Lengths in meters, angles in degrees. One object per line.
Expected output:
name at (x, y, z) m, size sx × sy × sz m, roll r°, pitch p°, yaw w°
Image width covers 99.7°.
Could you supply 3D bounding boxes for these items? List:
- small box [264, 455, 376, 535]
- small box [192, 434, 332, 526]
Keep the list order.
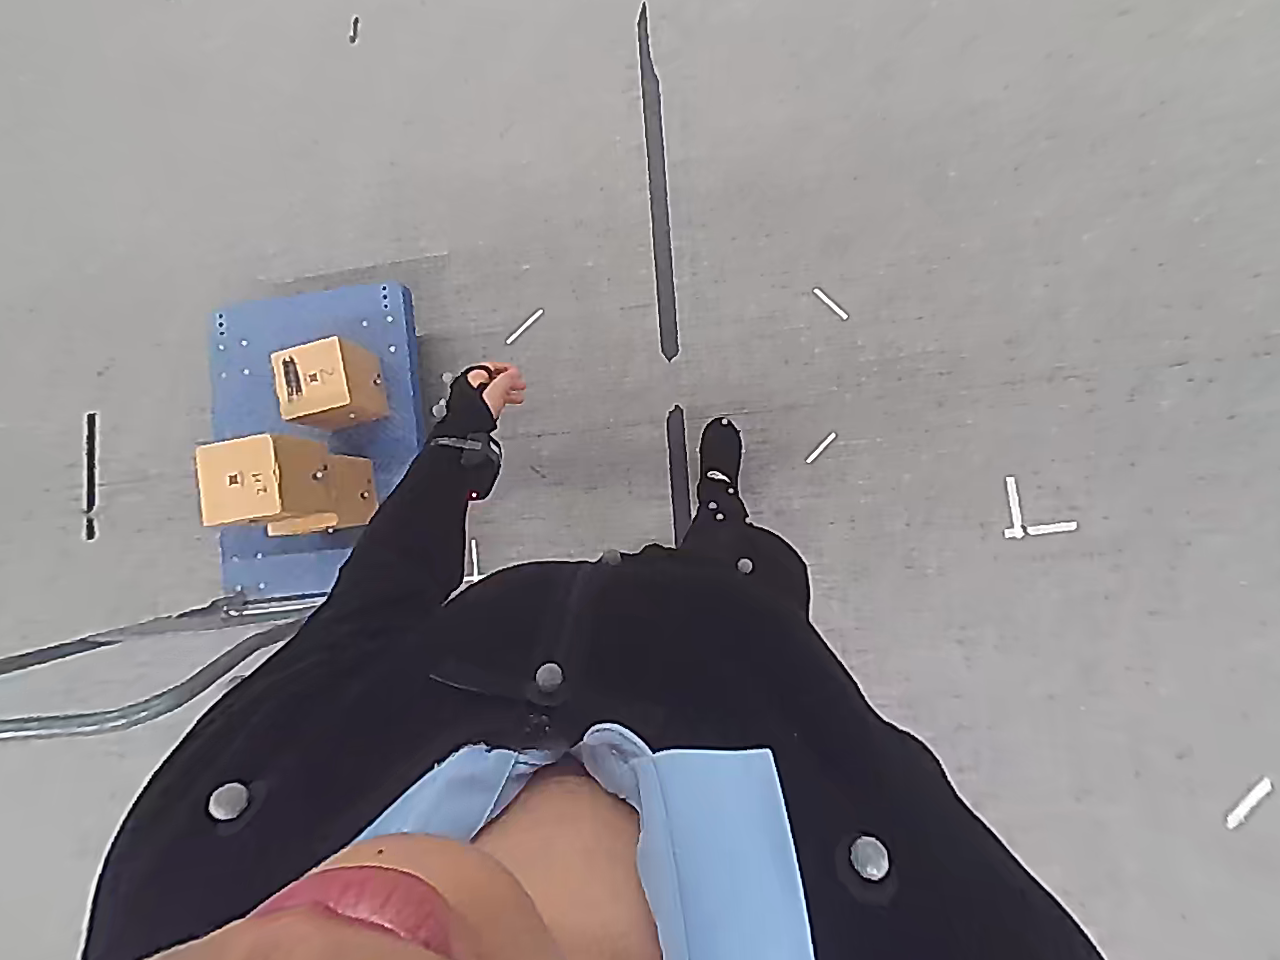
small box at (-0.780, 0.041, 1.318) m, size 0.179 × 0.176 × 0.168 m, roll -10°, pitch 86°, yaw 5°
small box at (-0.800, 0.007, 1.156) m, size 0.179 × 0.176 × 0.168 m, roll -10°, pitch 86°, yaw 5°
